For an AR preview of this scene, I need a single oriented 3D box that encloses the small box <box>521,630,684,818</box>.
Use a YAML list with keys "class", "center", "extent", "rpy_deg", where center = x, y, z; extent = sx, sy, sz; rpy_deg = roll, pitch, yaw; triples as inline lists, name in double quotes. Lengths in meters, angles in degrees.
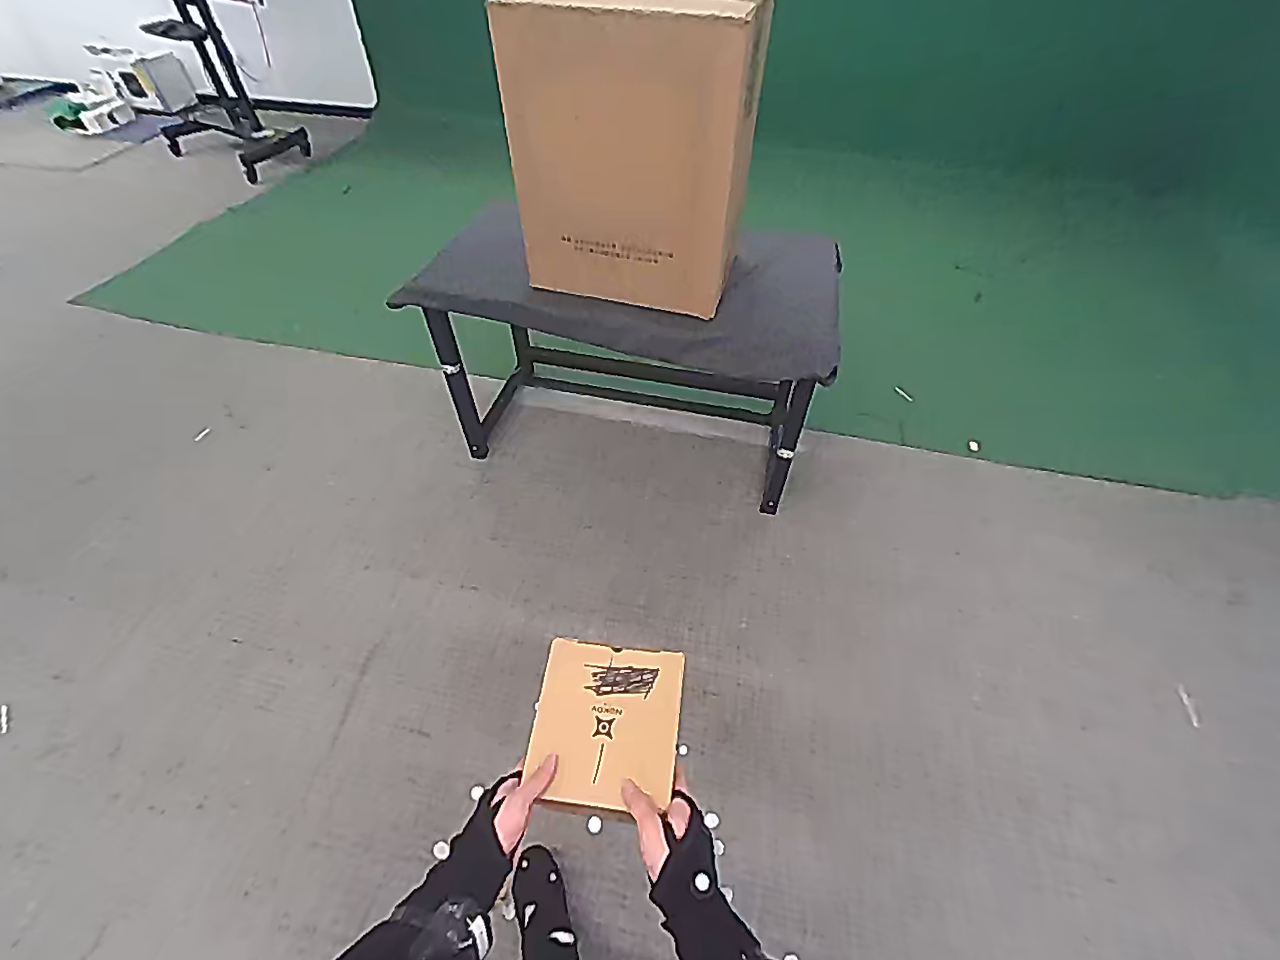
- class: "small box"
  center: [-0.037, 0.314, 0.690]
  extent: [0.168, 0.176, 0.179]
  rpy_deg: [6, 55, 6]
